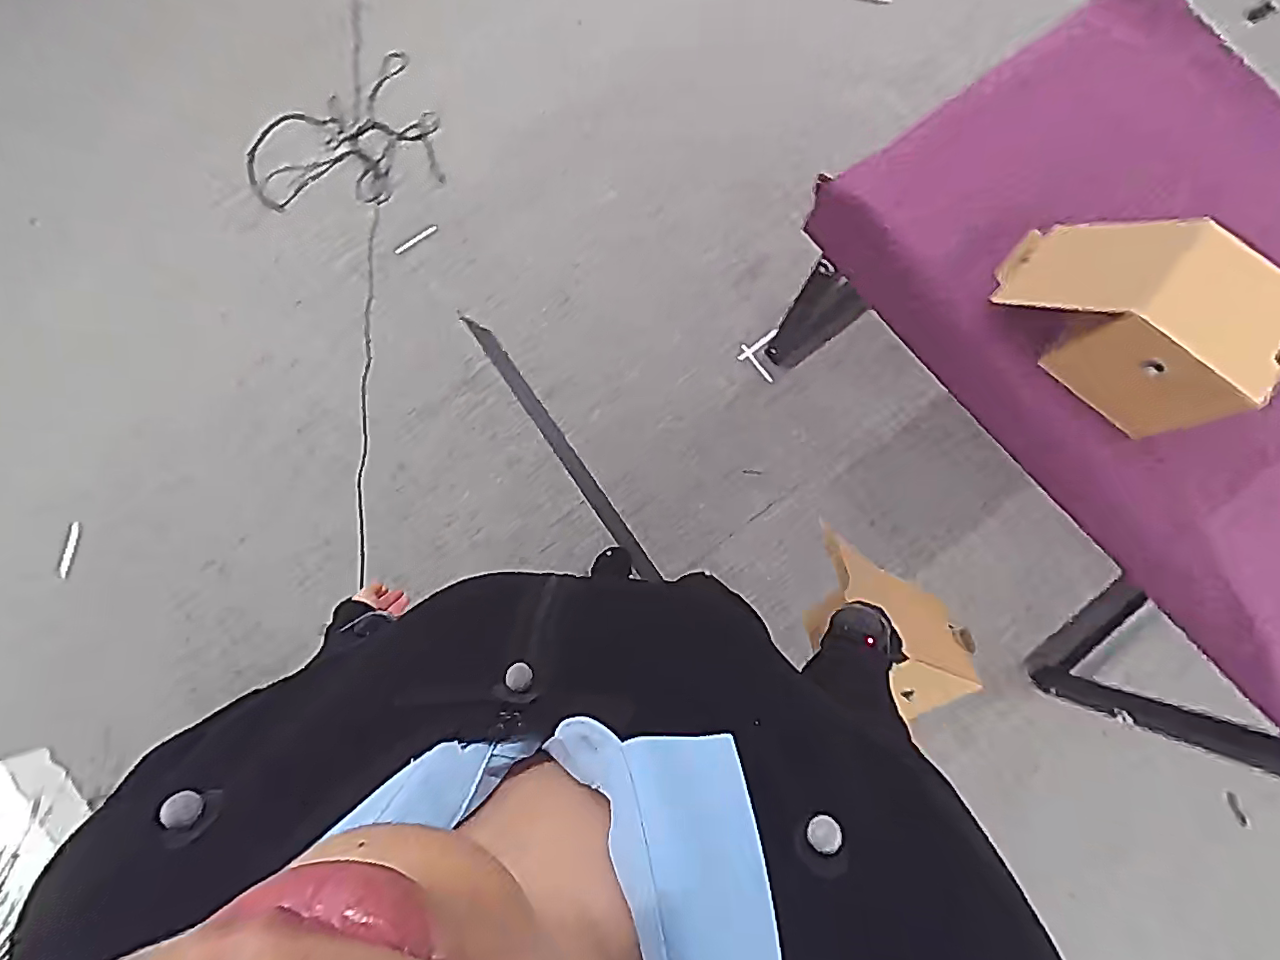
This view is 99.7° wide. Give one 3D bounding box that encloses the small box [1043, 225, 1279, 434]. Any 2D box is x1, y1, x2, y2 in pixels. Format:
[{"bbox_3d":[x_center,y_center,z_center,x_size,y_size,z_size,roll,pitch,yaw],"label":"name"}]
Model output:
[{"bbox_3d":[0.701,-0.185,0.720,0.179,0.176,0.168,43,85,7],"label":"small box"}]
